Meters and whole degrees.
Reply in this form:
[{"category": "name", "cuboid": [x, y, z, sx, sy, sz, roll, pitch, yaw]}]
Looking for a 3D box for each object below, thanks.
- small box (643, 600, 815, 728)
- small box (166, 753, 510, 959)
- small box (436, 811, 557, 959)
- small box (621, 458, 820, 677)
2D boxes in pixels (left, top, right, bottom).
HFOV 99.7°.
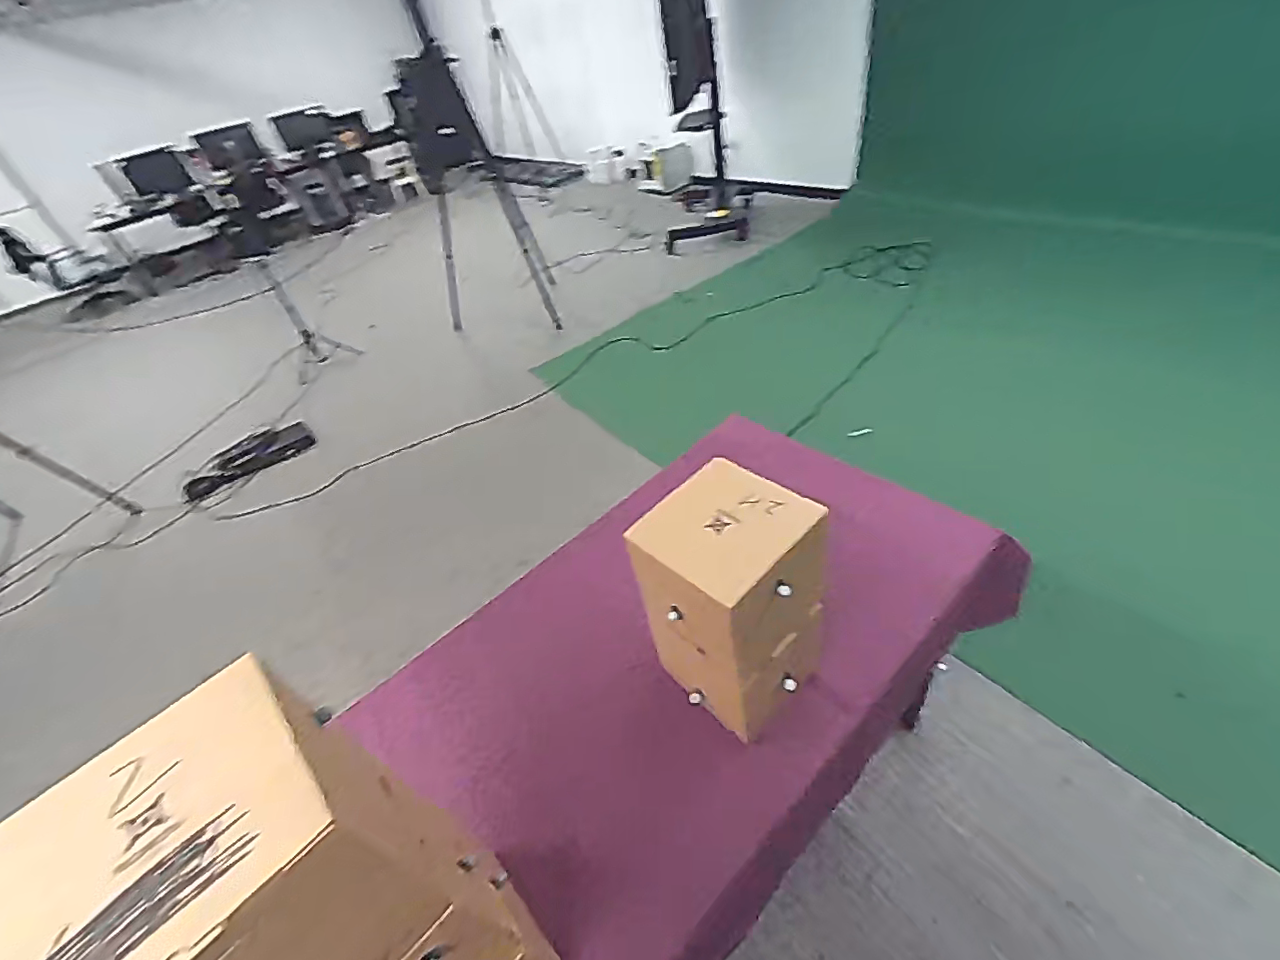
[{"category": "small box", "cuboid": [0.132, 0.230, 0.788, 0.168, 0.176, 0.179, -37, 47, -25]}, {"category": "small box", "cuboid": [-0.243, 0.389, 0.465, 0.168, 0.176, 0.179, 28, 54, 37]}, {"category": "small box", "cuboid": [-0.212, 0.506, 0.573, 0.168, 0.176, 0.179, -37, 46, -26]}, {"category": "small box", "cuboid": [0.106, 0.109, 0.678, 0.179, 0.176, 0.168, -37, 47, -25]}]
